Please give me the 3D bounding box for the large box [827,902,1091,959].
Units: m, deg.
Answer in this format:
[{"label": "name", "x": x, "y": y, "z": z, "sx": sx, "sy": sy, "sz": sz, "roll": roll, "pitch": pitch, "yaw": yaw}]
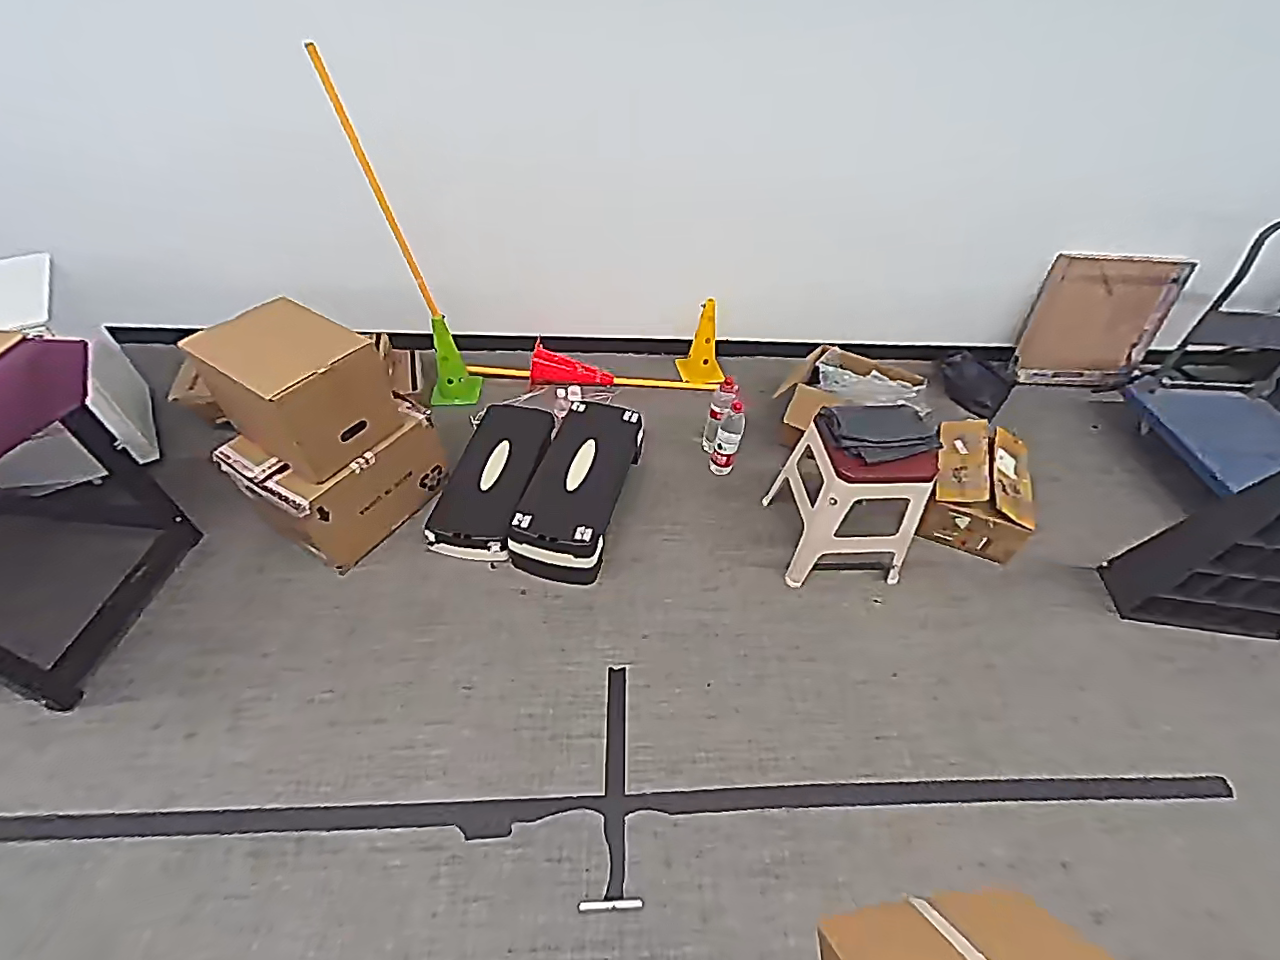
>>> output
[{"label": "large box", "x": 0.444, "y": 0.755, "z": 0.577, "sx": 0.320, "sy": 0.408, "sz": 0.320, "roll": -3, "pitch": 82, "yaw": -6}]
